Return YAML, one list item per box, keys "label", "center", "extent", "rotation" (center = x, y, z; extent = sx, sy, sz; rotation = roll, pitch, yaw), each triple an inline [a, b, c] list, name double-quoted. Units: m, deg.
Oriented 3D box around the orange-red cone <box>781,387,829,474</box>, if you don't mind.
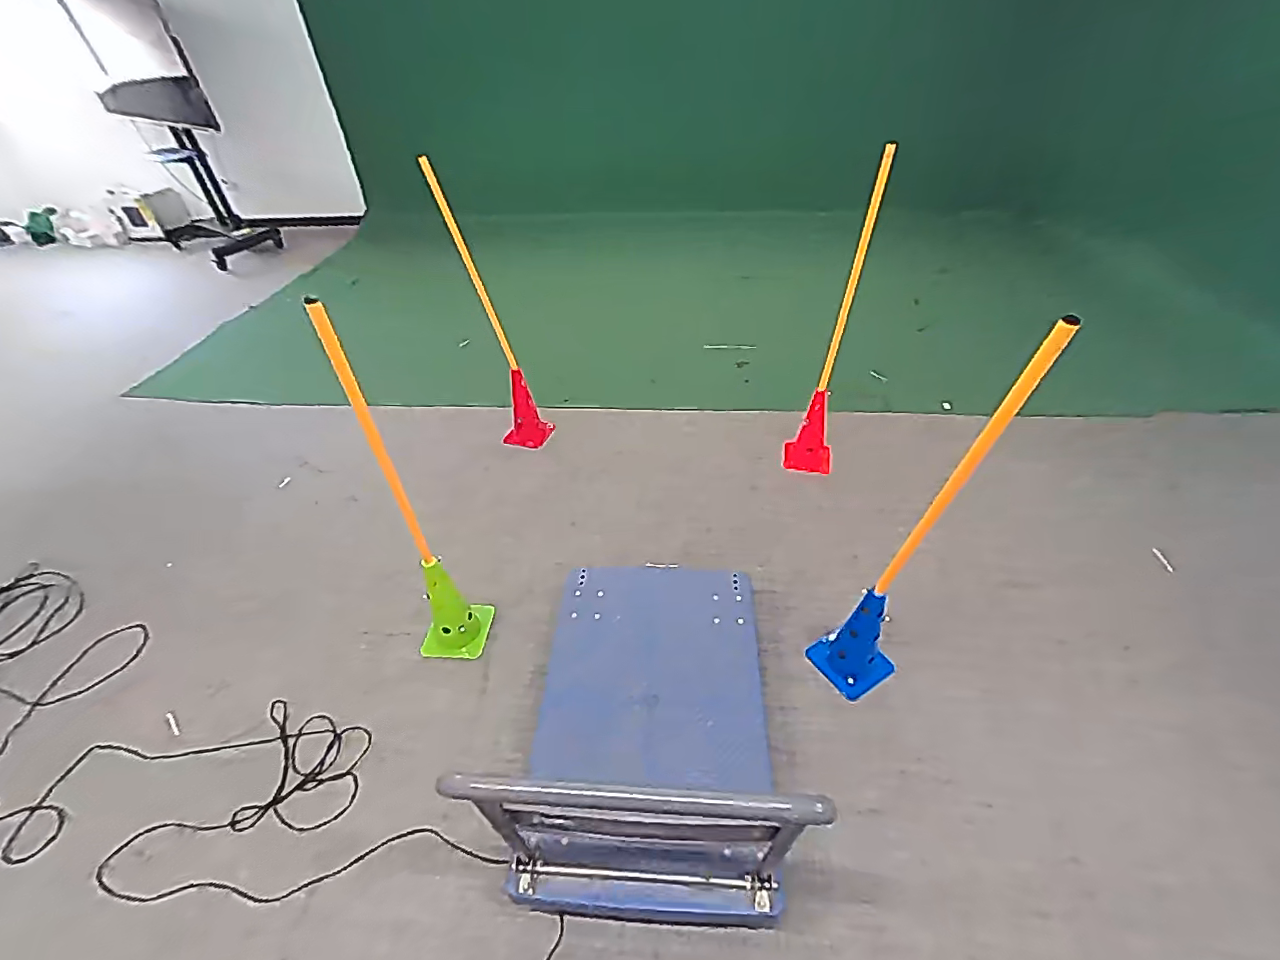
- label: "orange-red cone"
  center: [0.719, -0.227, 2.271]
  extent: [0.198, 0.360, 0.199]
  rotation: [8, 43, 14]
